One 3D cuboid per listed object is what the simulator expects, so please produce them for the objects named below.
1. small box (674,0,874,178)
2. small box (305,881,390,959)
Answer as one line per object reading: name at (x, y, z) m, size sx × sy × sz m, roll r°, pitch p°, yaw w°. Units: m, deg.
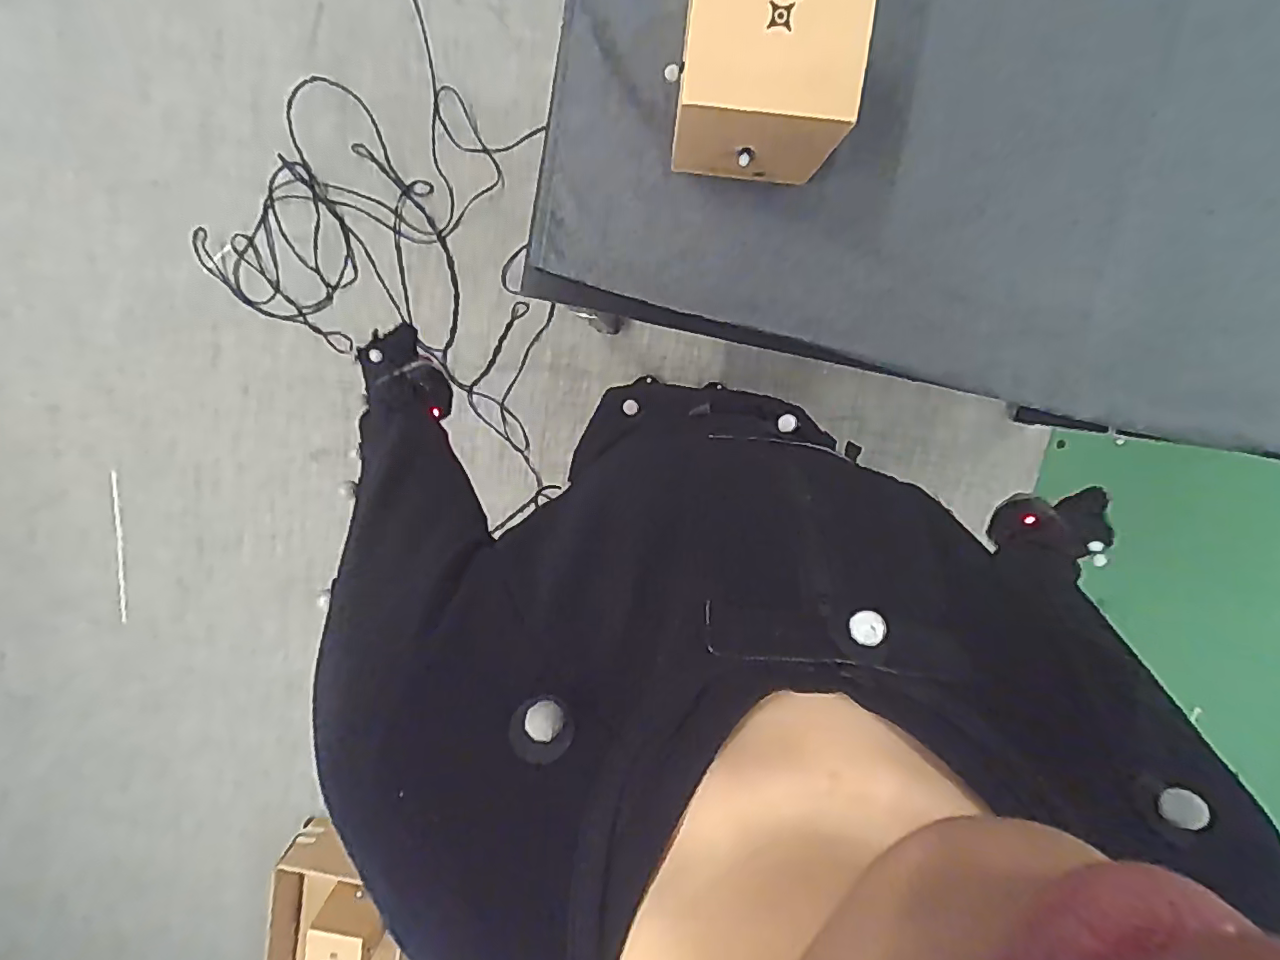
small box at (0.128, -0.439, 0.561) m, size 0.168 × 0.176 × 0.179 m, roll 6°, pitch 100°, yaw -1°
small box at (-0.878, 1.369, 1.633) m, size 0.168 × 0.176 × 0.179 m, roll 10°, pitch 102°, yaw 0°
